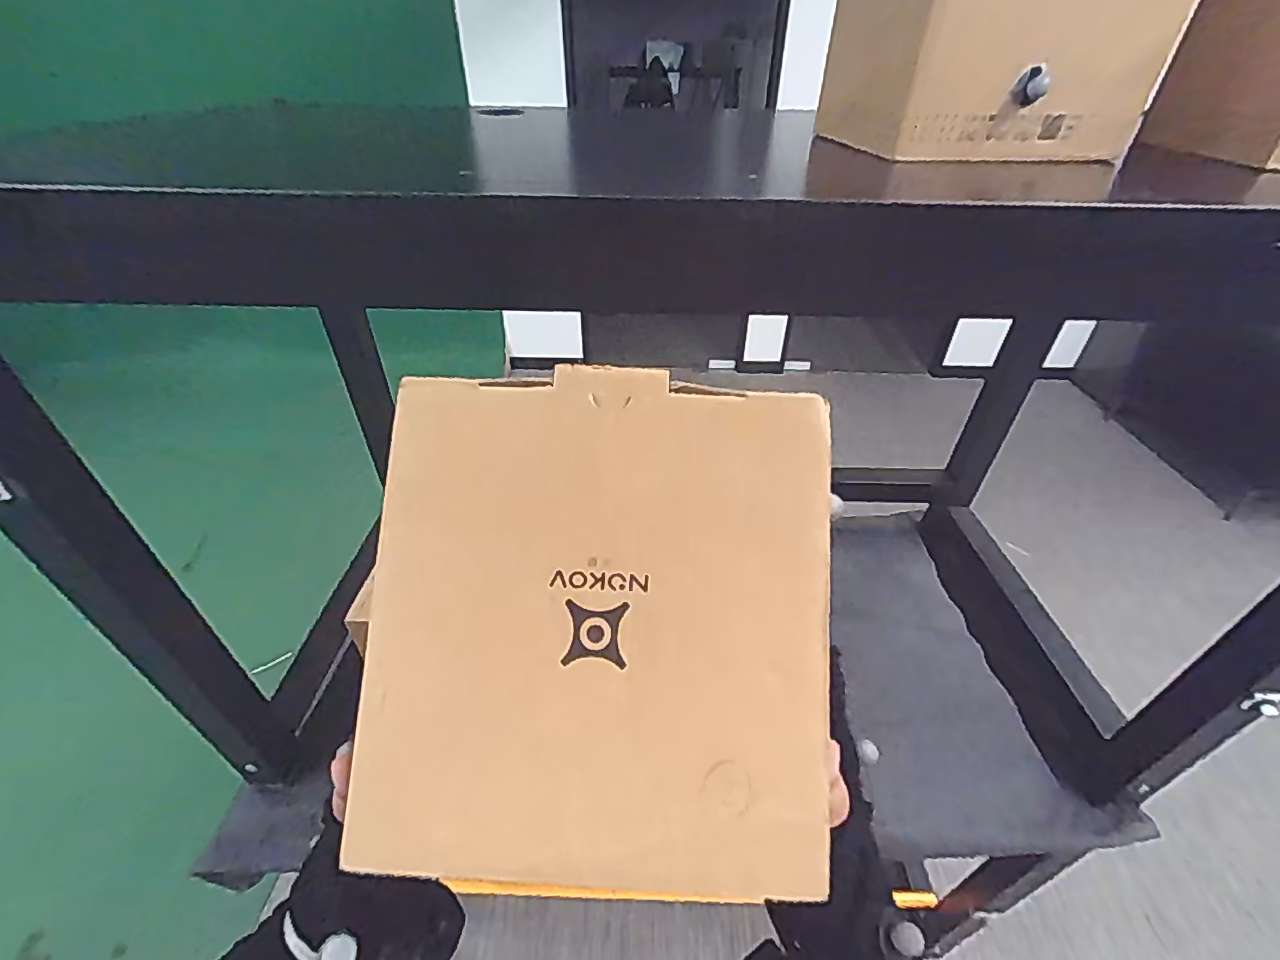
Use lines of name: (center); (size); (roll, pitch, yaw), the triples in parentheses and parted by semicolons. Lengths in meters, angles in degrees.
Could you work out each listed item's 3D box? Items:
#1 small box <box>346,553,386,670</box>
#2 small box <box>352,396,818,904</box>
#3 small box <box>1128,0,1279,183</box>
small box: (-0.333, 0.220, 0.871); (0.168, 0.176, 0.179); (2, 38, 1)
small box: (-0.015, 0.068, 0.279); (0.168, 0.176, 0.179); (3, 80, 1)
small box: (0.494, -0.295, 0.359); (0.168, 0.176, 0.179); (8, 38, 9)
